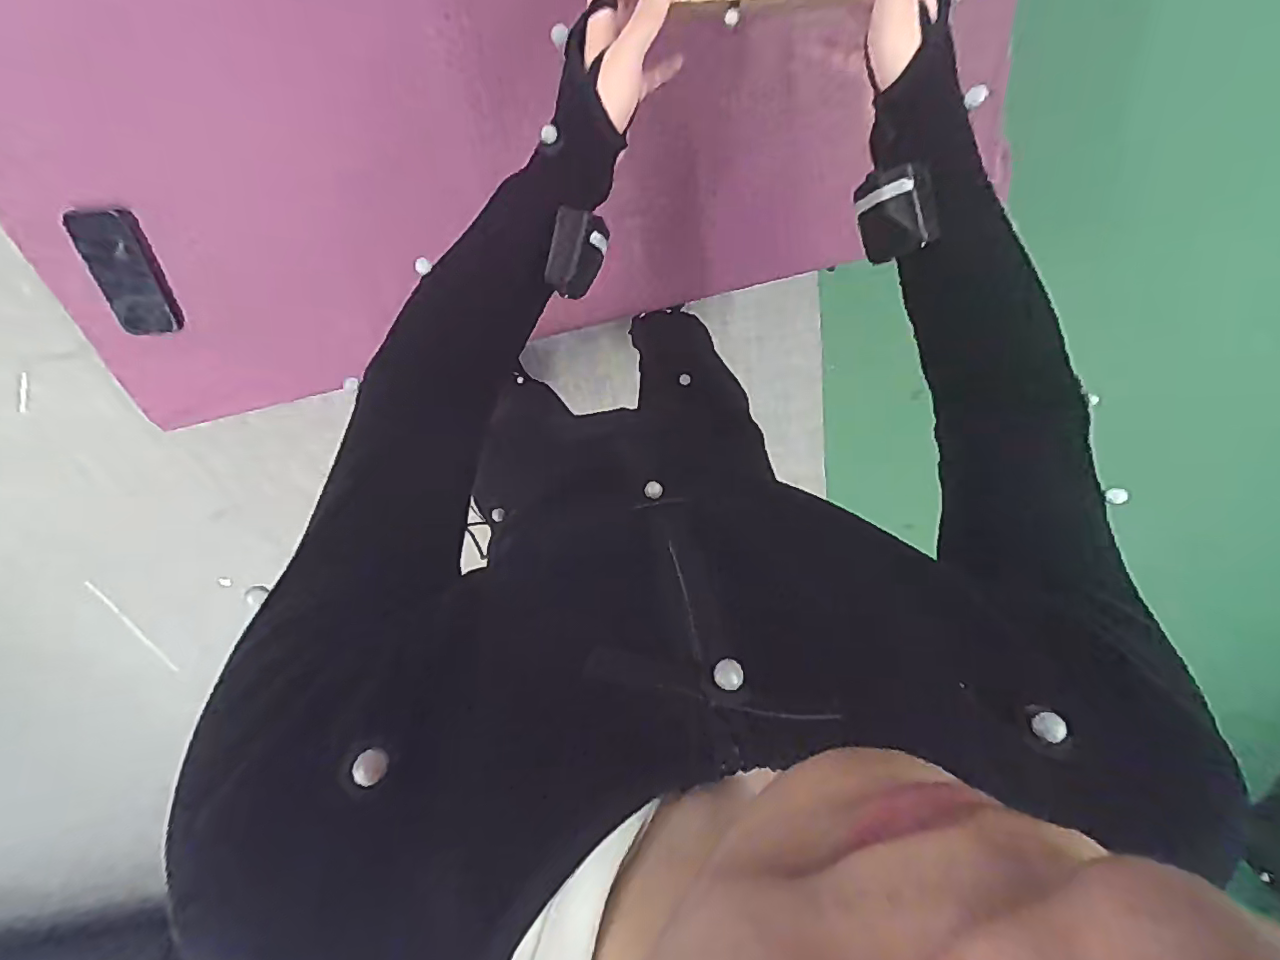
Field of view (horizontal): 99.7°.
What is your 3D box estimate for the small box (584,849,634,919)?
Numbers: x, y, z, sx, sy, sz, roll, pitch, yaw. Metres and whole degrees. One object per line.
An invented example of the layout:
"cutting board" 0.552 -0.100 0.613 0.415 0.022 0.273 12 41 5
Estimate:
"small box" -0.110 1.507 2.010 0.168 0.176 0.179 -6 119 1
